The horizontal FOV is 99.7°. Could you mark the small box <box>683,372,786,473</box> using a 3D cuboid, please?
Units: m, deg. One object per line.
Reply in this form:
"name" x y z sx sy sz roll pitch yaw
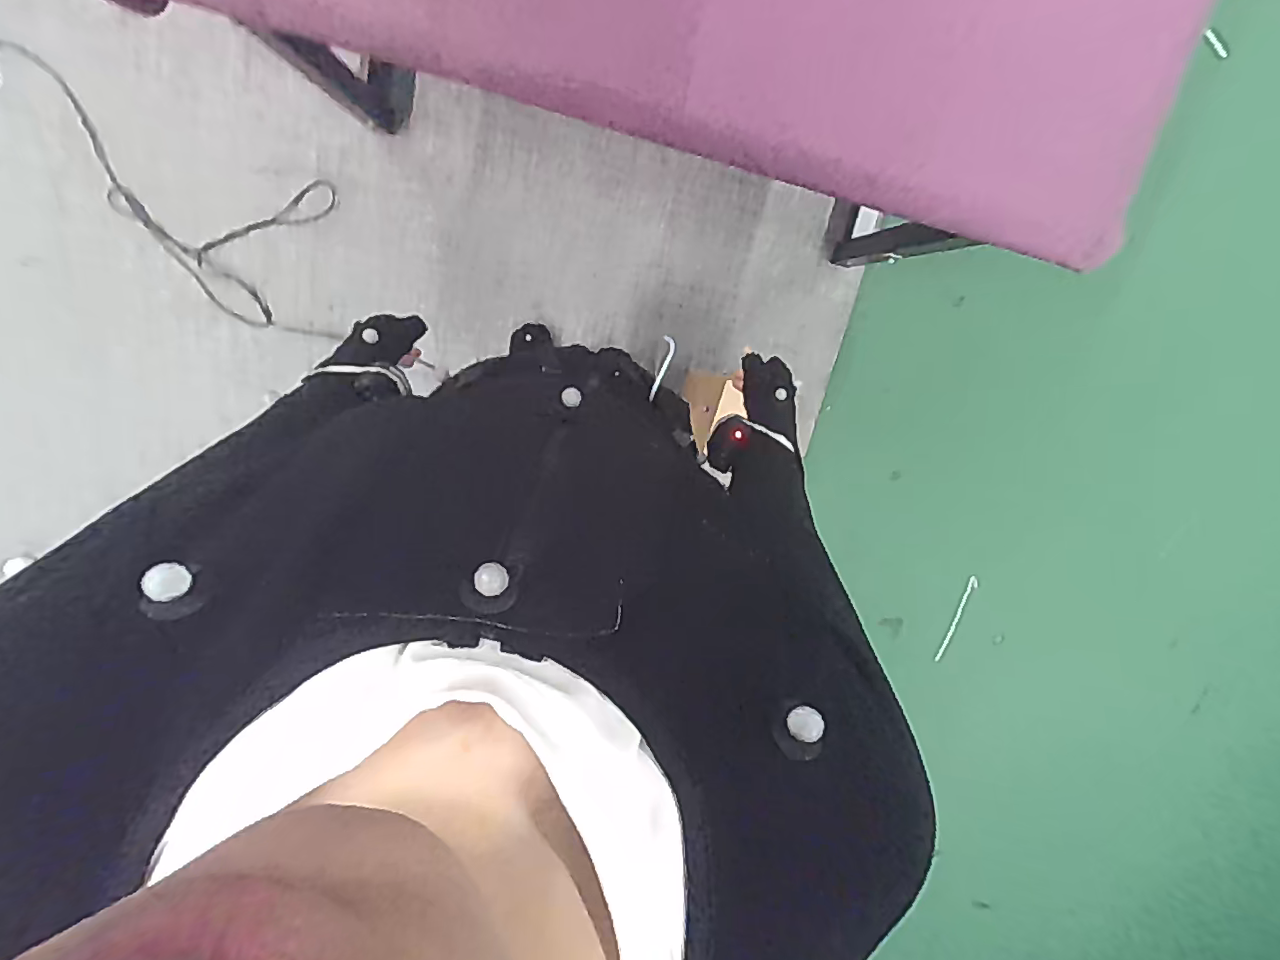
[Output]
"small box" 0.206 -0.139 1.247 0.168 0.176 0.179 15 105 -10
